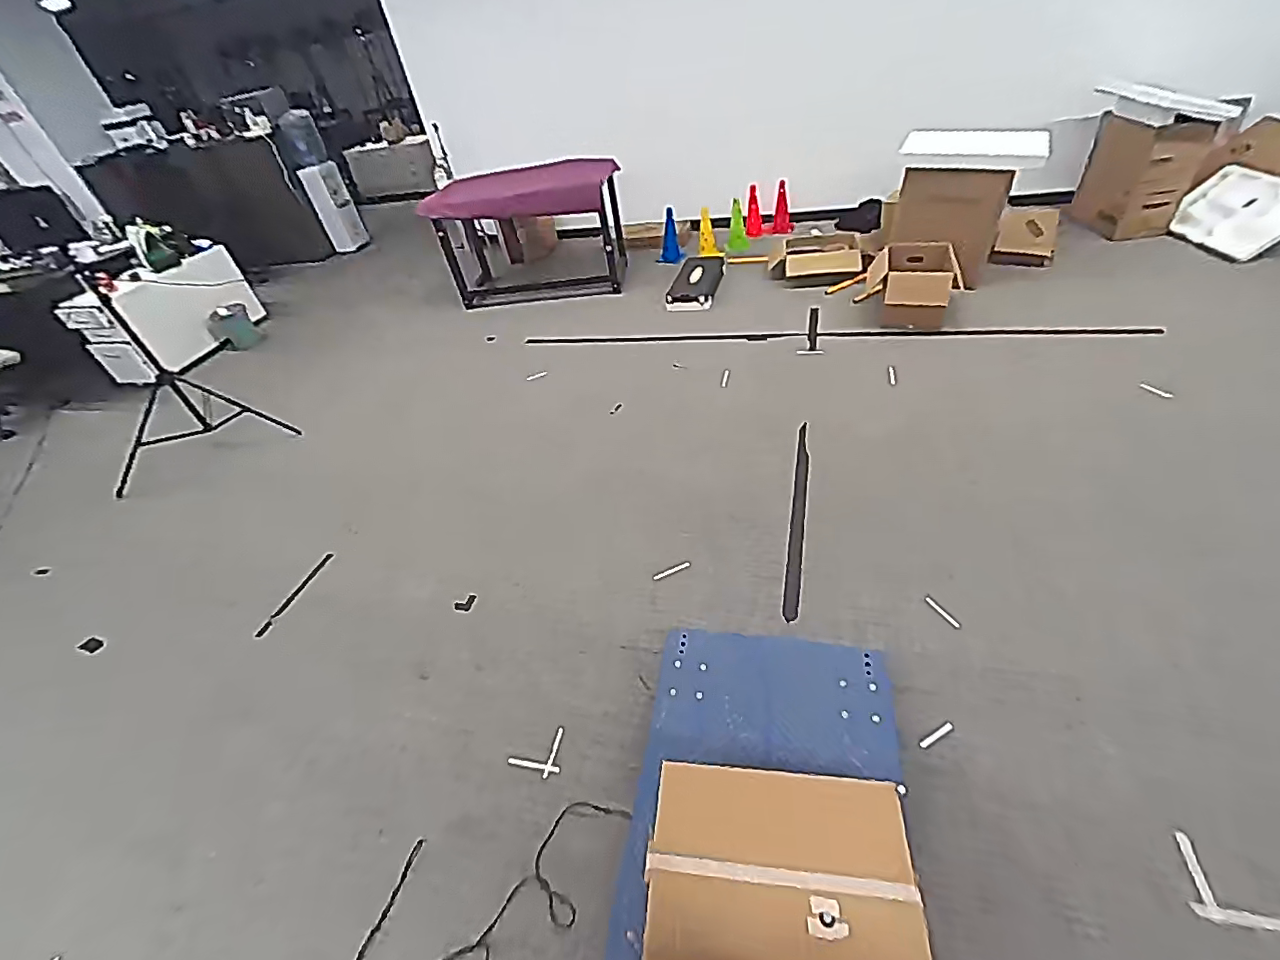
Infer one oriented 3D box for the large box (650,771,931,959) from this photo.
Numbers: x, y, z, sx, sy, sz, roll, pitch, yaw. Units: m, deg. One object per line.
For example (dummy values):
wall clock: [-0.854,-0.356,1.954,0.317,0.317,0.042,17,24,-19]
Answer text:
large box: [0.240,0.744,0.939,0.408,0.320,0.320,0,42,10]
